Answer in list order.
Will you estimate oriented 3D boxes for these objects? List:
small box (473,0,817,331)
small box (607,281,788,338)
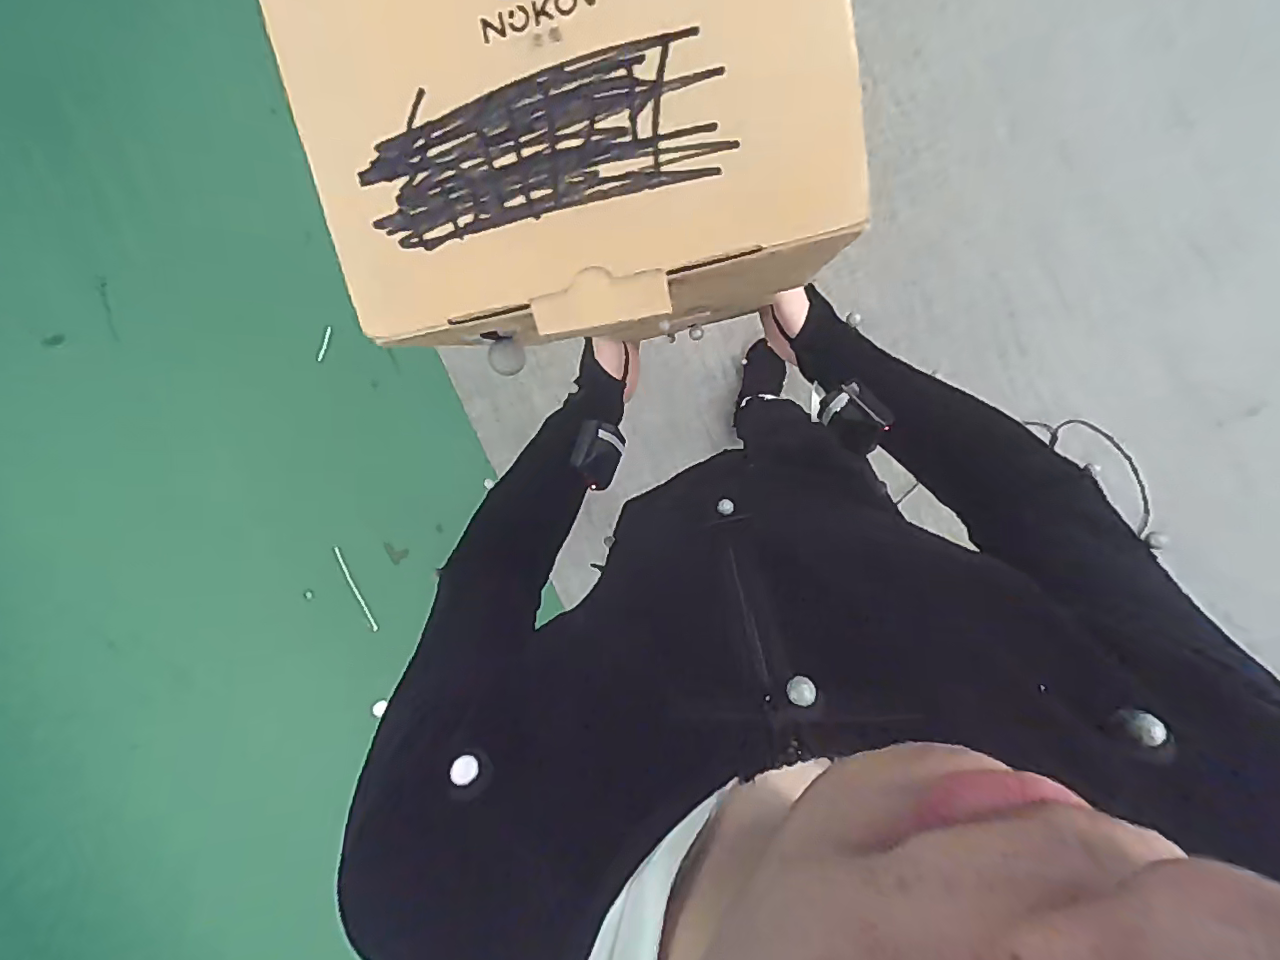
[{"bbox_3d":[0.014,-0.212,0.379,0.168,0.176,0.179,-12,102,12],"label":"small box"},{"bbox_3d":[0.043,-0.246,0.535,0.168,0.176,0.179,-11,101,13],"label":"small box"}]
